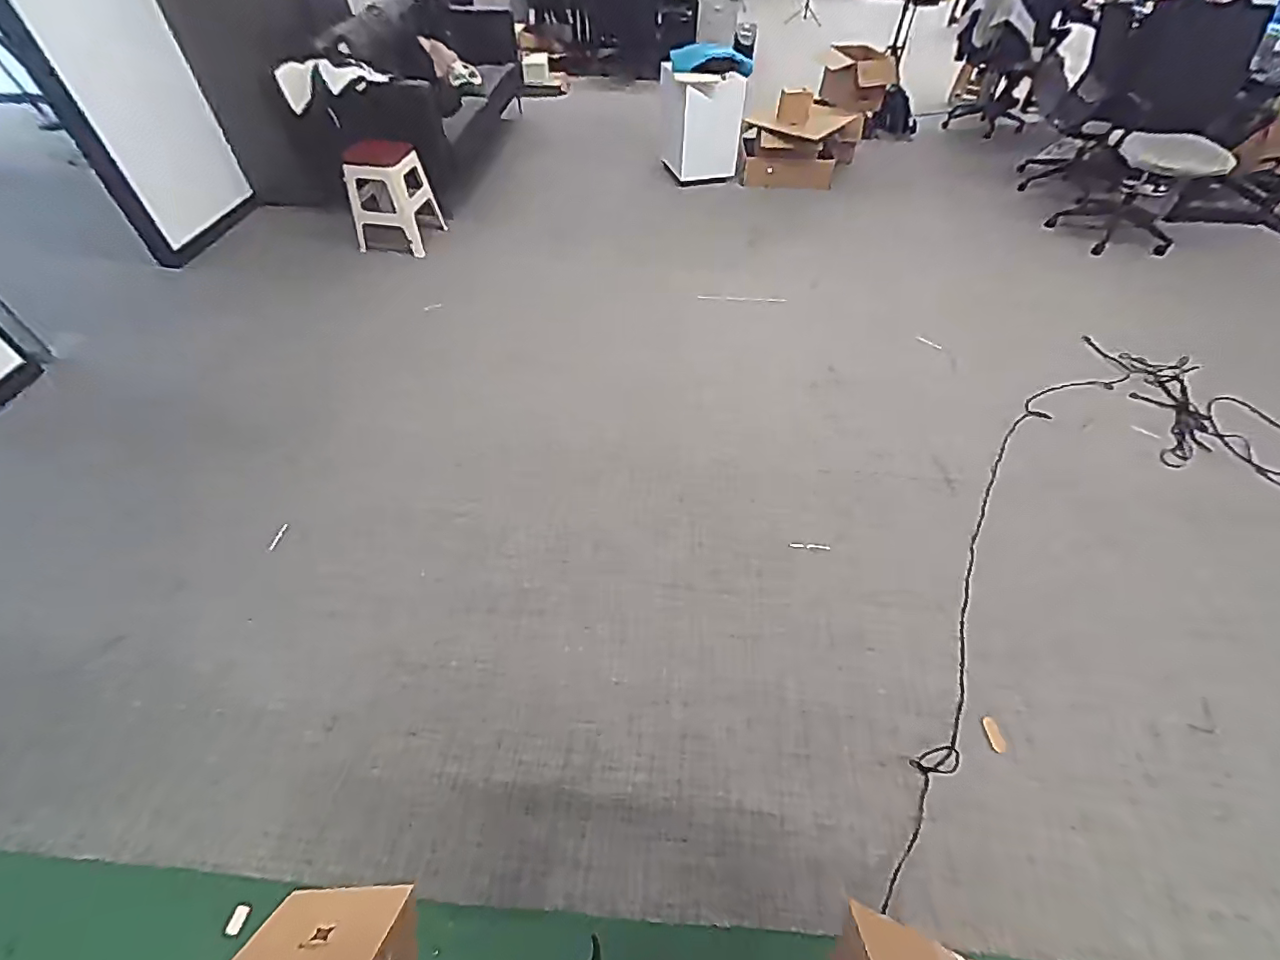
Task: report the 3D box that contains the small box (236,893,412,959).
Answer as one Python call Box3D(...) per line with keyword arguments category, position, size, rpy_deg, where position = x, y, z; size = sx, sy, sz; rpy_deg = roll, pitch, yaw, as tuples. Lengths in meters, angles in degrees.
Box3D(category="small box", position=(-0.388, 0.641, 0.644), size=(0.168, 0.179, 0.176), rpy_deg=(-1, 87, -3))
